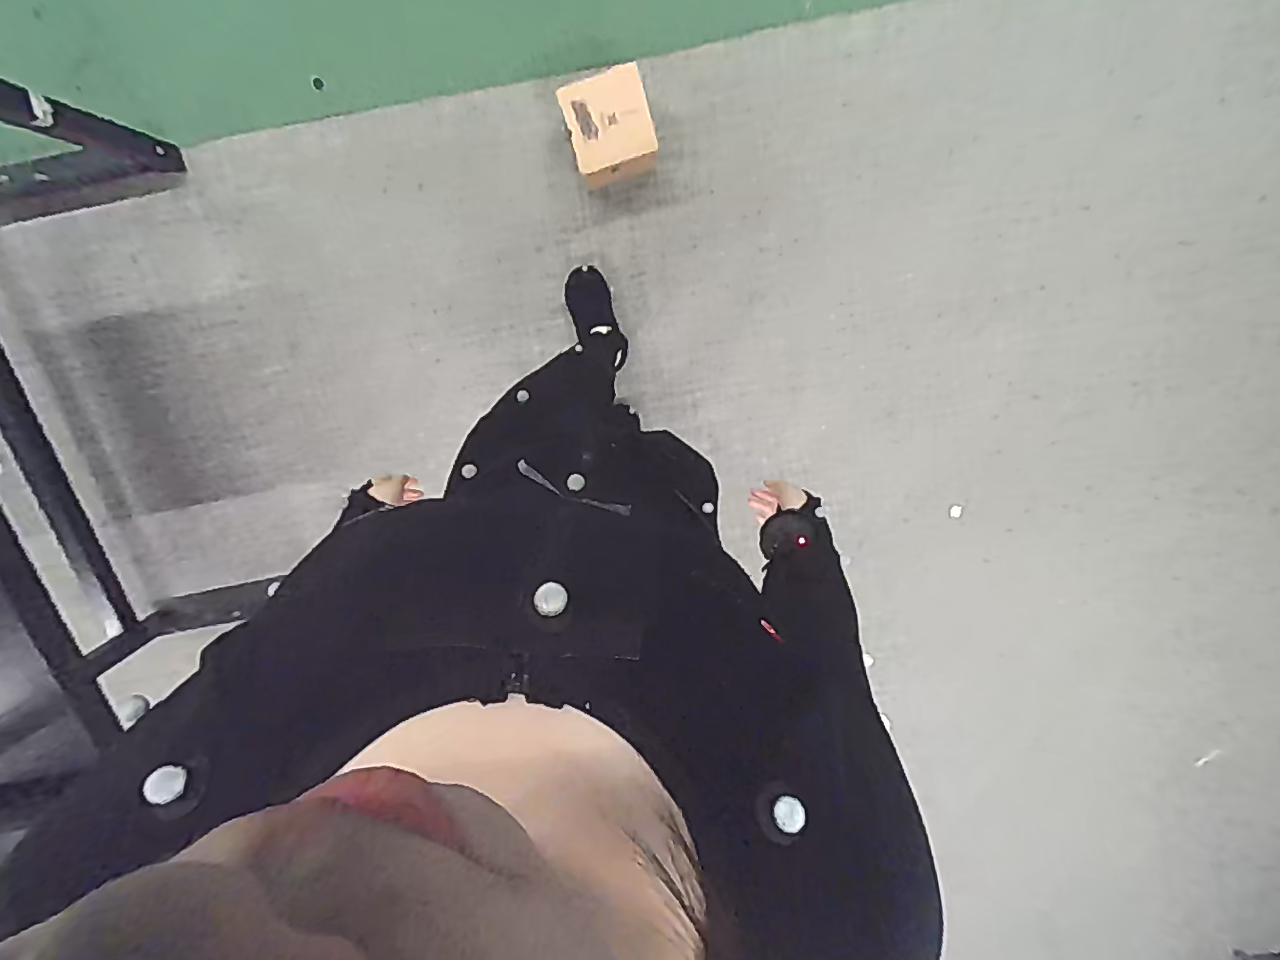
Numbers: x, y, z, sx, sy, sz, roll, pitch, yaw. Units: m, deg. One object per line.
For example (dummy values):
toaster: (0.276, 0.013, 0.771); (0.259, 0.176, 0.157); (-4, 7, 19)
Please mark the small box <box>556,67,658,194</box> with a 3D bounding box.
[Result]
small box: (-0.067, -0.749, 1.182); (0.179, 0.176, 0.168); (-17, 107, 3)
